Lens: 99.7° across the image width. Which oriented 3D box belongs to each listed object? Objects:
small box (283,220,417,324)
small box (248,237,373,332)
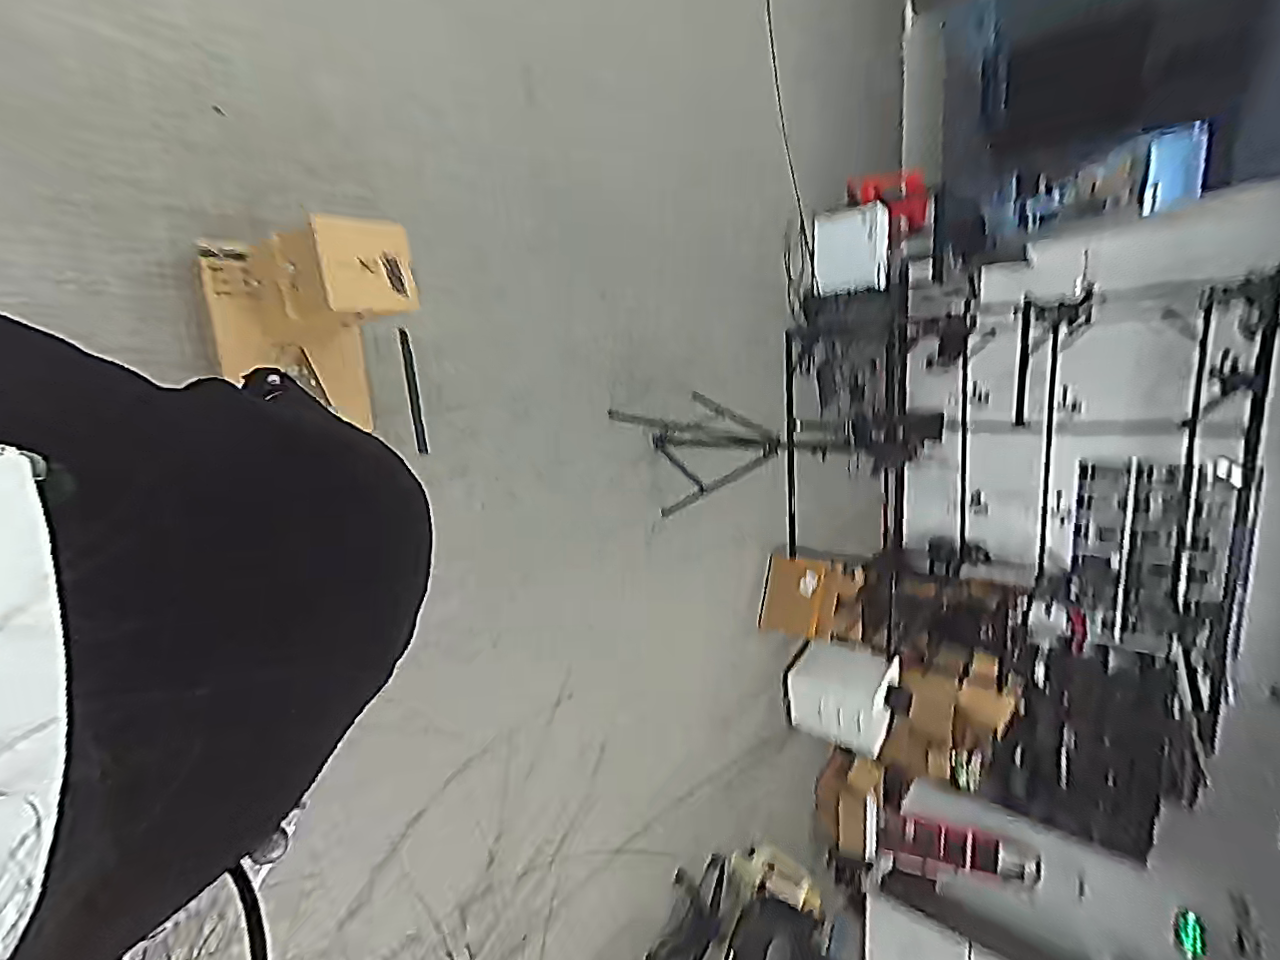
[{"bbox_3d":[-0.586,-0.412,1.096,0.179,0.176,0.168,-19,109,-48],"label":"small box"},{"bbox_3d":[-0.722,-0.420,1.188,0.179,0.176,0.168,-17,107,-48],"label":"small box"}]
